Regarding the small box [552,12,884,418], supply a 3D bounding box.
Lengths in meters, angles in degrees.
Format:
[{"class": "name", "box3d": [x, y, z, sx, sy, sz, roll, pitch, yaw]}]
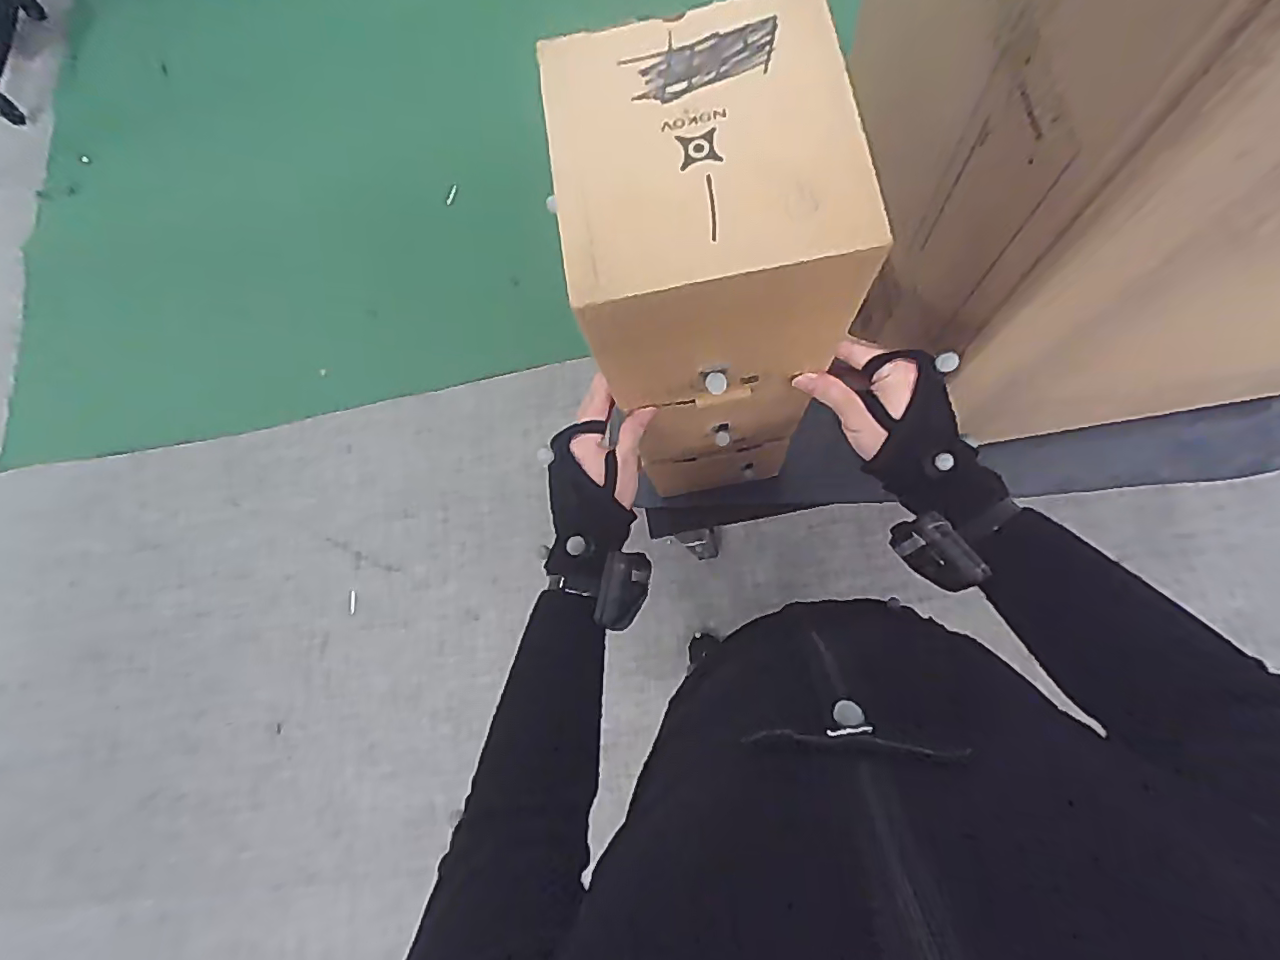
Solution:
[{"class": "small box", "box3d": [0.045, -0.164, 0.383, 0.168, 0.176, 0.179, -10, 76, 6]}]

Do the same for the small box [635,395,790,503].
[{"class": "small box", "box3d": [0.086, -0.077, 0.698, 0.168, 0.176, 0.179, -12, 72, 5]}]
